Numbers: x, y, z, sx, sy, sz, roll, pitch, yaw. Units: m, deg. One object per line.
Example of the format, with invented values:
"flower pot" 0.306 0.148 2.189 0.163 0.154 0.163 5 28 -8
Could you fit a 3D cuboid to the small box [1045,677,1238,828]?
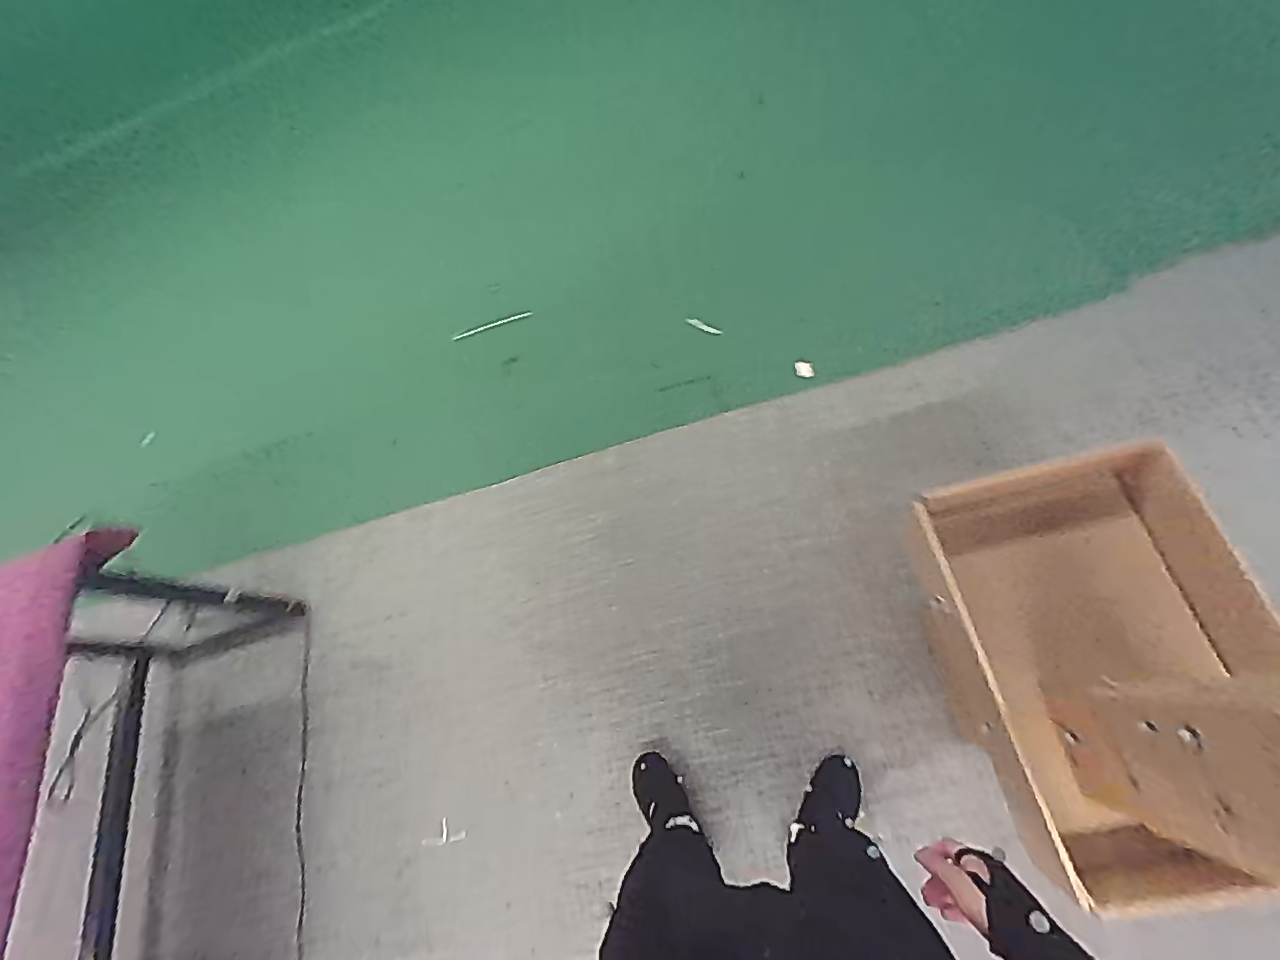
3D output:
"small box" 0.755 0.389 0.797 0.179 0.176 0.168 -14 68 11
